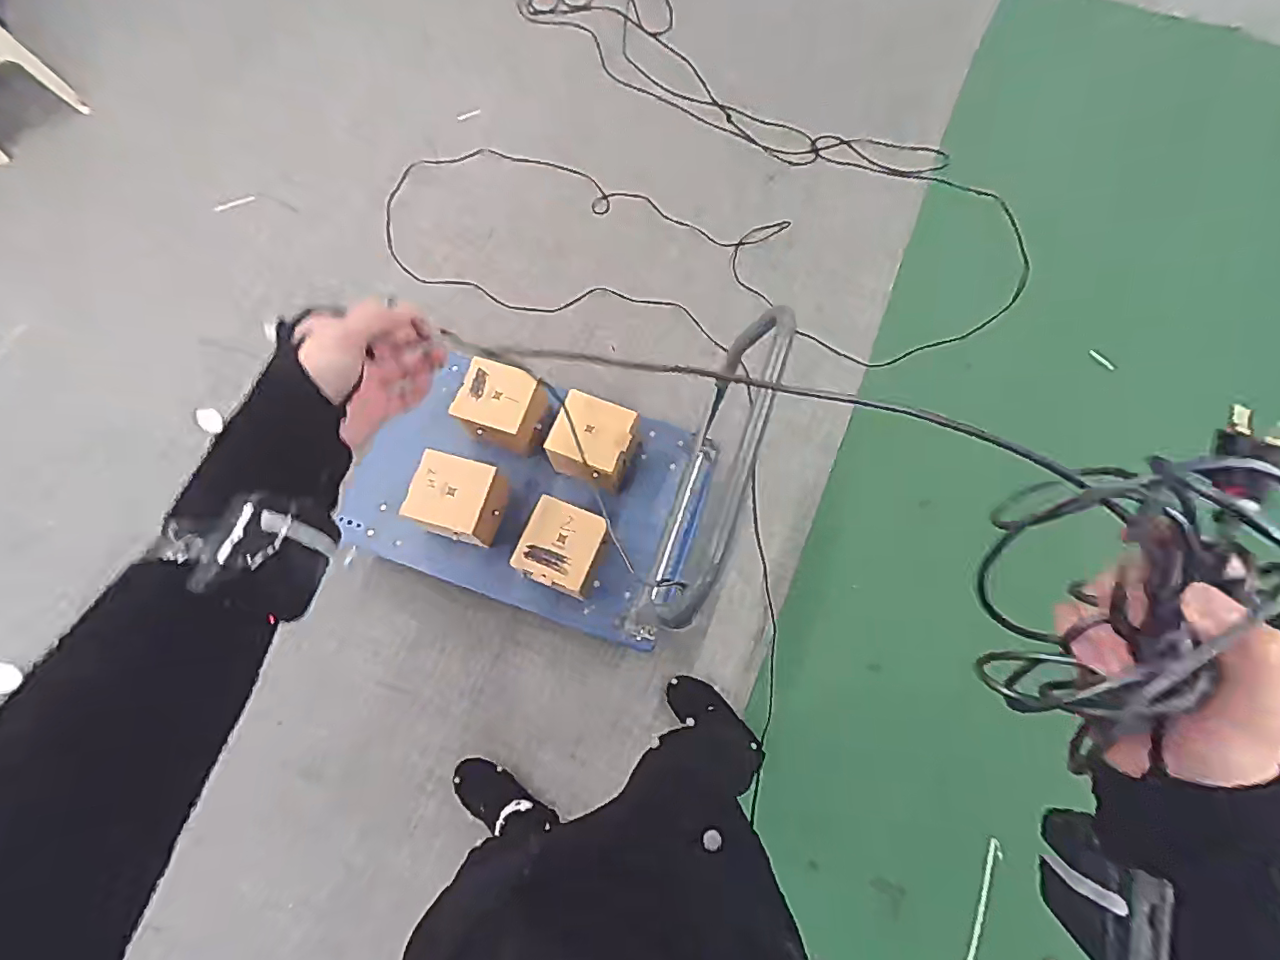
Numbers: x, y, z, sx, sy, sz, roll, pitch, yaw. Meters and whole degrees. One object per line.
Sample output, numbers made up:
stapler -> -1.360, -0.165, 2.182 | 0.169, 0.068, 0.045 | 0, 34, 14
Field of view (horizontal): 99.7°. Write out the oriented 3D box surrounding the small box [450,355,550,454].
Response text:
small box -> -0.343, -0.183, 1.363 | 0.179, 0.176, 0.168 | 18, 74, 4

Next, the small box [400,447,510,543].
small box -> -0.428, 0.044, 1.289 | 0.179, 0.176, 0.168 | 15, 72, 4

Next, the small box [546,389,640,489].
small box -> -0.111, -0.093, 1.339 | 0.179, 0.176, 0.168 | 21, 74, 5
